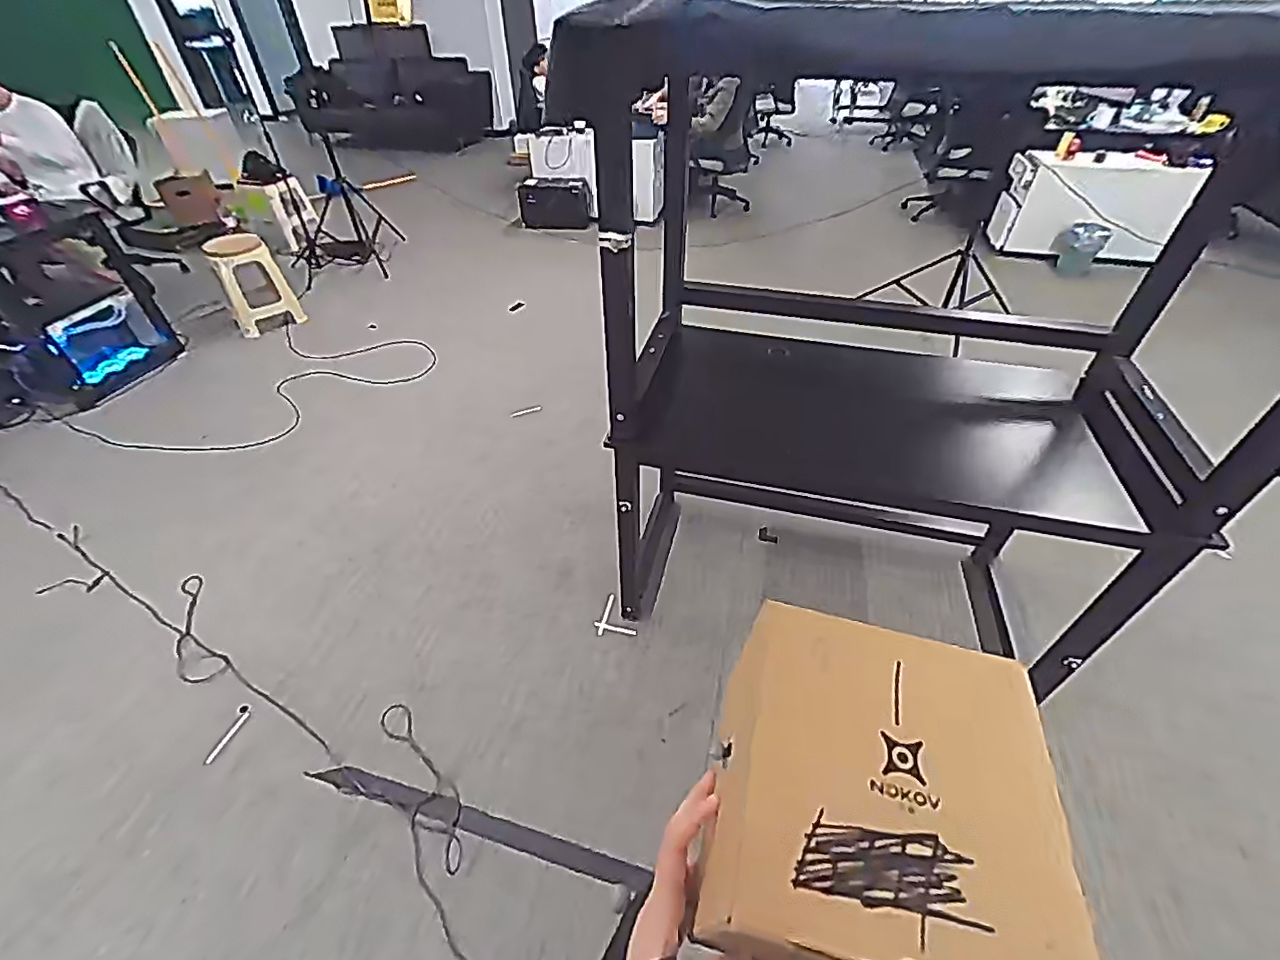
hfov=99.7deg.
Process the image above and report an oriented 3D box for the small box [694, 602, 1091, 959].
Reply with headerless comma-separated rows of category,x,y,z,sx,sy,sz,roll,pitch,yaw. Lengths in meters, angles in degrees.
small box,0.134,0.213,0.350,0.168,0.176,0.179,13,47,8
